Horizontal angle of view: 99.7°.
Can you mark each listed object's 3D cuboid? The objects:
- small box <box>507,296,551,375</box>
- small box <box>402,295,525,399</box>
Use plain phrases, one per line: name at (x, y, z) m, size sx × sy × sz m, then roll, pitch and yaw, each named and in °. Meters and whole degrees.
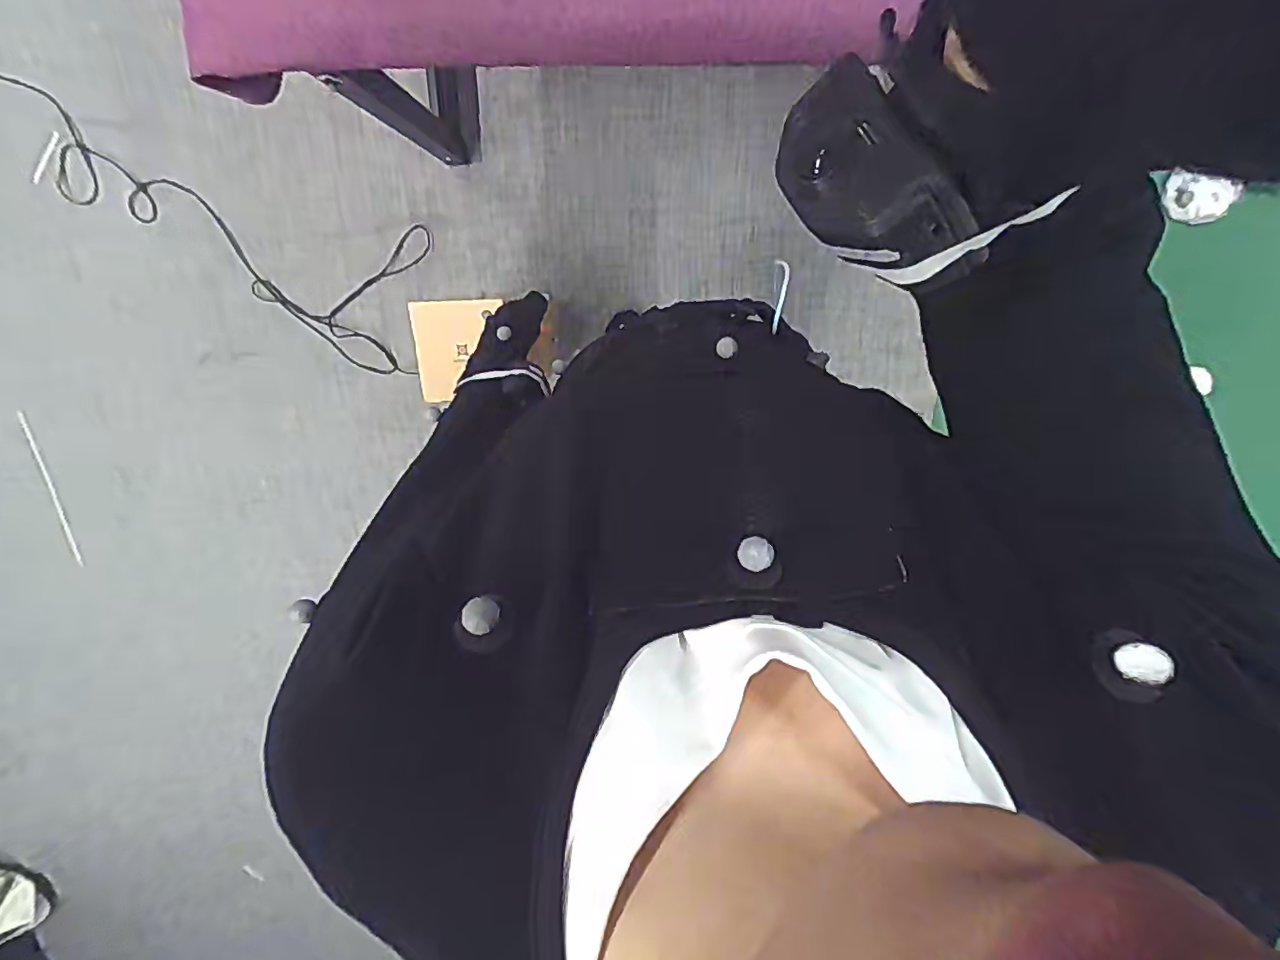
small box at (-0.314, -0.357, 1.321) m, size 0.168 × 0.176 × 0.179 m, roll 2°, pitch 109°, yaw 1°
small box at (-0.319, -0.253, 1.010) m, size 0.168 × 0.176 × 0.179 m, roll -1°, pitch 111°, yaw 2°
